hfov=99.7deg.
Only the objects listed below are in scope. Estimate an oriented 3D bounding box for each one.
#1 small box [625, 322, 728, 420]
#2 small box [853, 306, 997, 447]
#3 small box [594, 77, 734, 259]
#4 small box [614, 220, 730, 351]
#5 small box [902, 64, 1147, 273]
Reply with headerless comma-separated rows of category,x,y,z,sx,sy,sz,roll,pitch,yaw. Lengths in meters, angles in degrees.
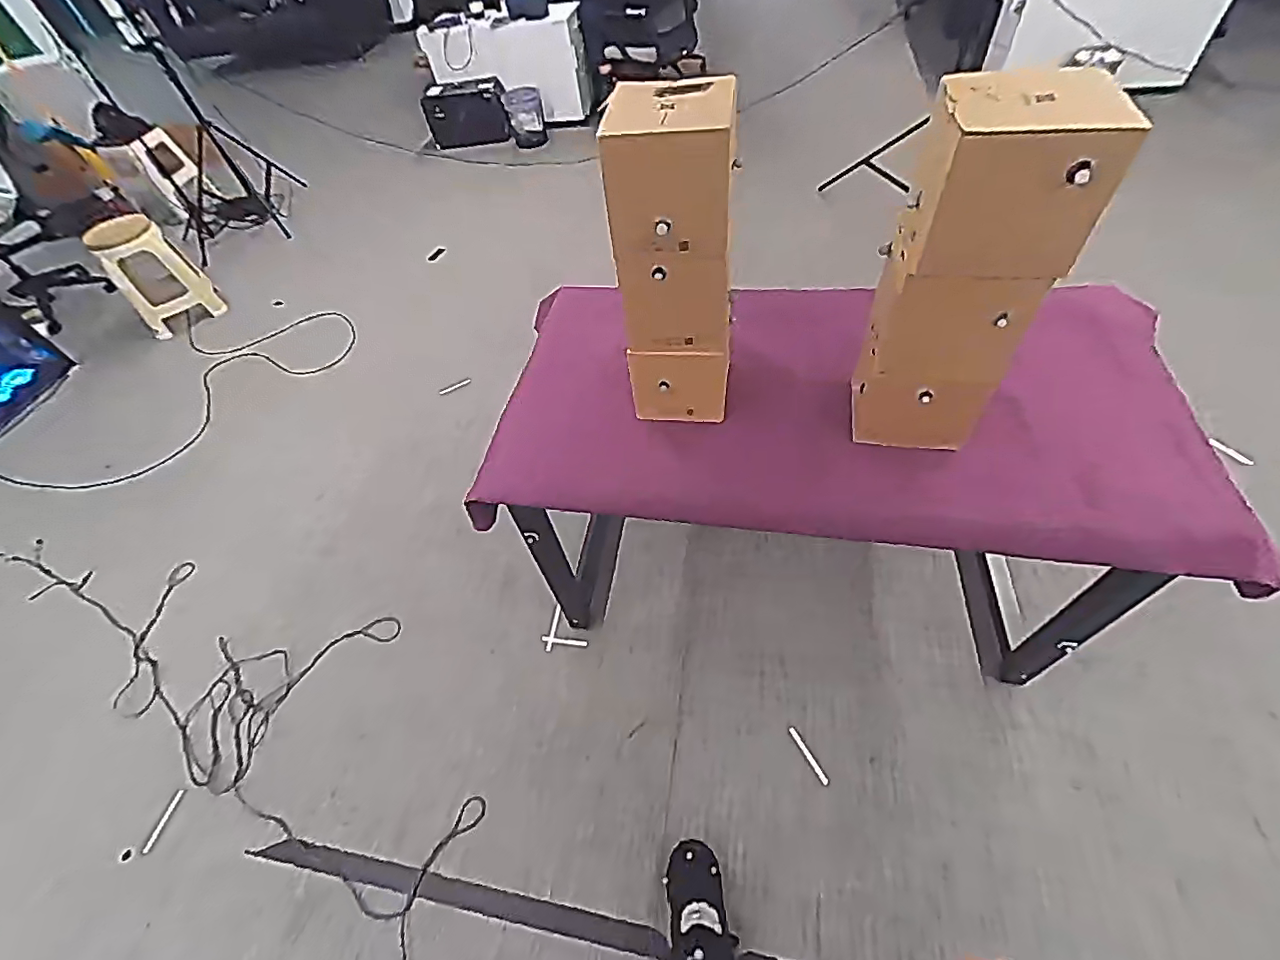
small box,0.077,-0.229,1.014,0.168,0.176,0.179,3,53,10
small box,0.464,-0.173,0.917,0.179,0.176,0.168,6,55,12
small box,0.043,-0.433,0.758,0.168,0.176,0.179,3,54,10
small box,0.061,-0.334,0.889,0.168,0.176,0.179,2,52,10
small box,0.437,-0.368,0.652,0.179,0.176,0.168,5,54,12
